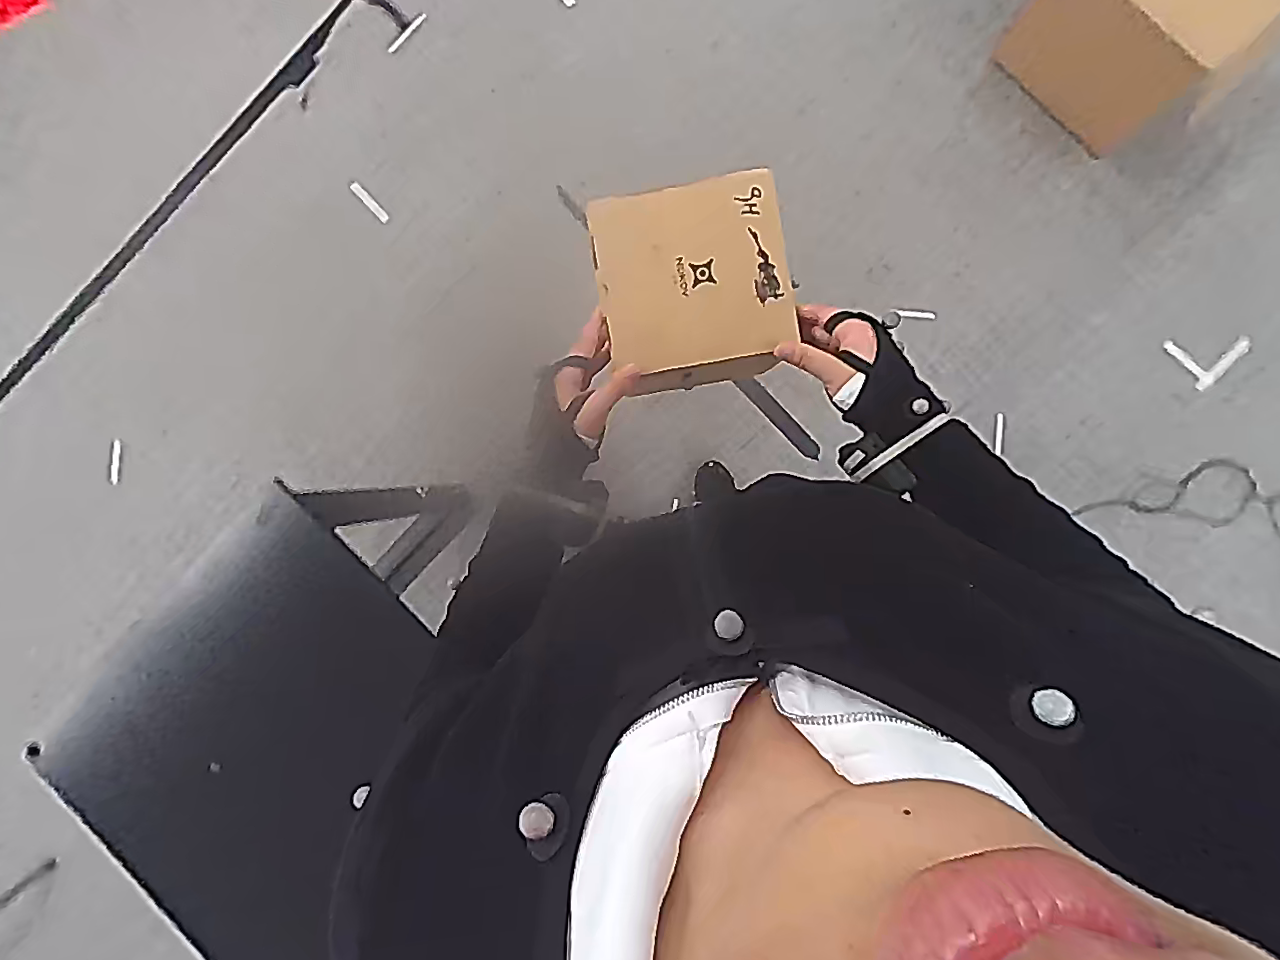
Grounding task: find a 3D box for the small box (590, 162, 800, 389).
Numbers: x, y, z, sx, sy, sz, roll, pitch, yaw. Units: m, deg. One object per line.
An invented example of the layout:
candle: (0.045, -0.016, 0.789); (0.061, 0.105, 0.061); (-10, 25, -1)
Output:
small box: (0.054, -0.198, 0.575); (0.179, 0.176, 0.168); (-9, 92, 3)
